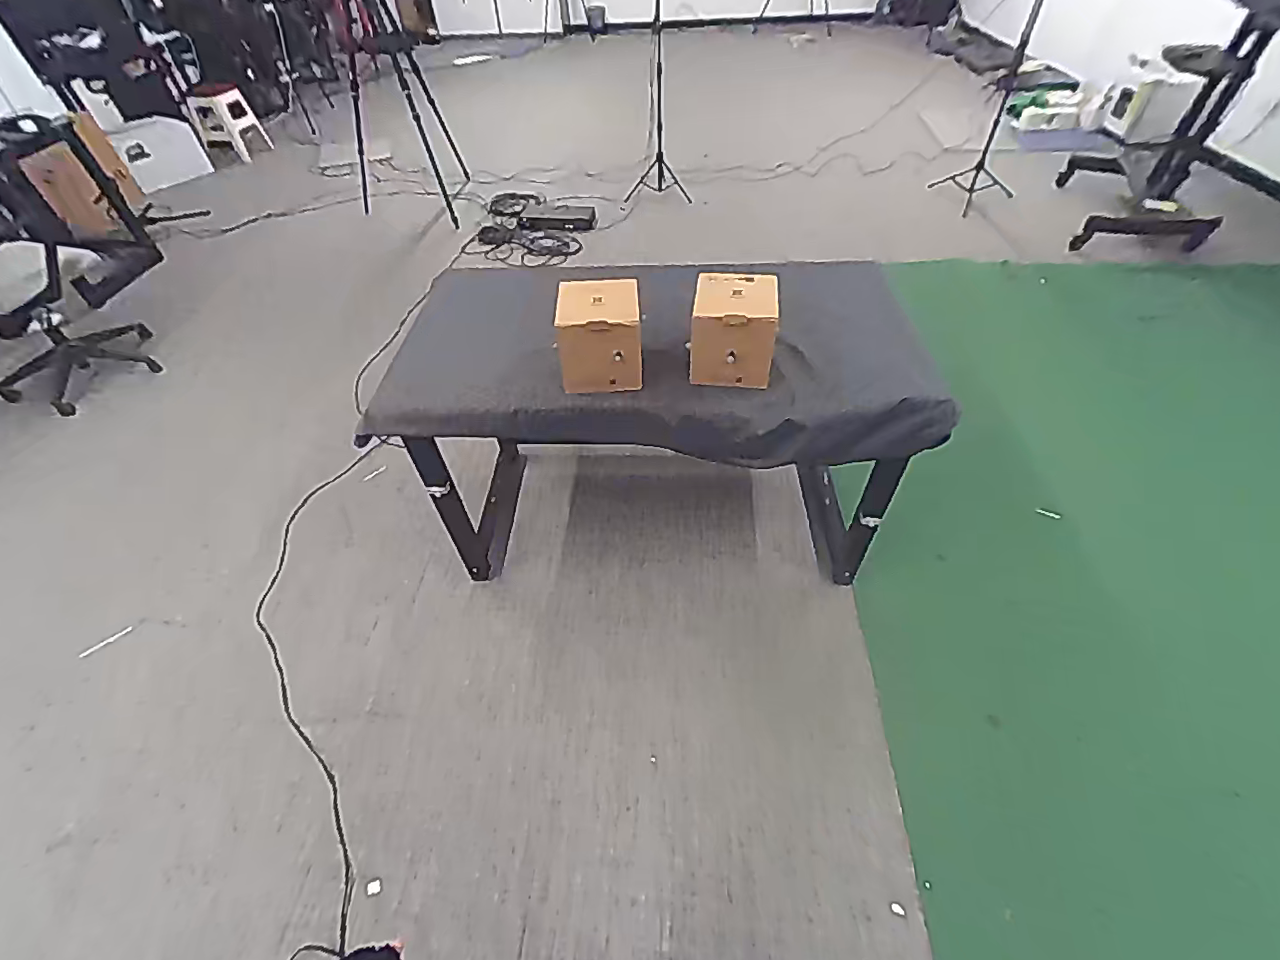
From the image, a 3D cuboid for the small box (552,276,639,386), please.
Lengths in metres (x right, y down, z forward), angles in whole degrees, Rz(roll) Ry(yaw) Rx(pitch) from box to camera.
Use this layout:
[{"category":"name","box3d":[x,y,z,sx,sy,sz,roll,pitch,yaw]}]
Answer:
[{"category":"small box","box3d":[-0.088,-0.311,1.145,0.168,0.176,0.179,-3,46,-2]}]

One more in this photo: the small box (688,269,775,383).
[{"category":"small box","box3d":[0.192,-0.323,1.143,0.168,0.176,0.179,5,49,7]}]
